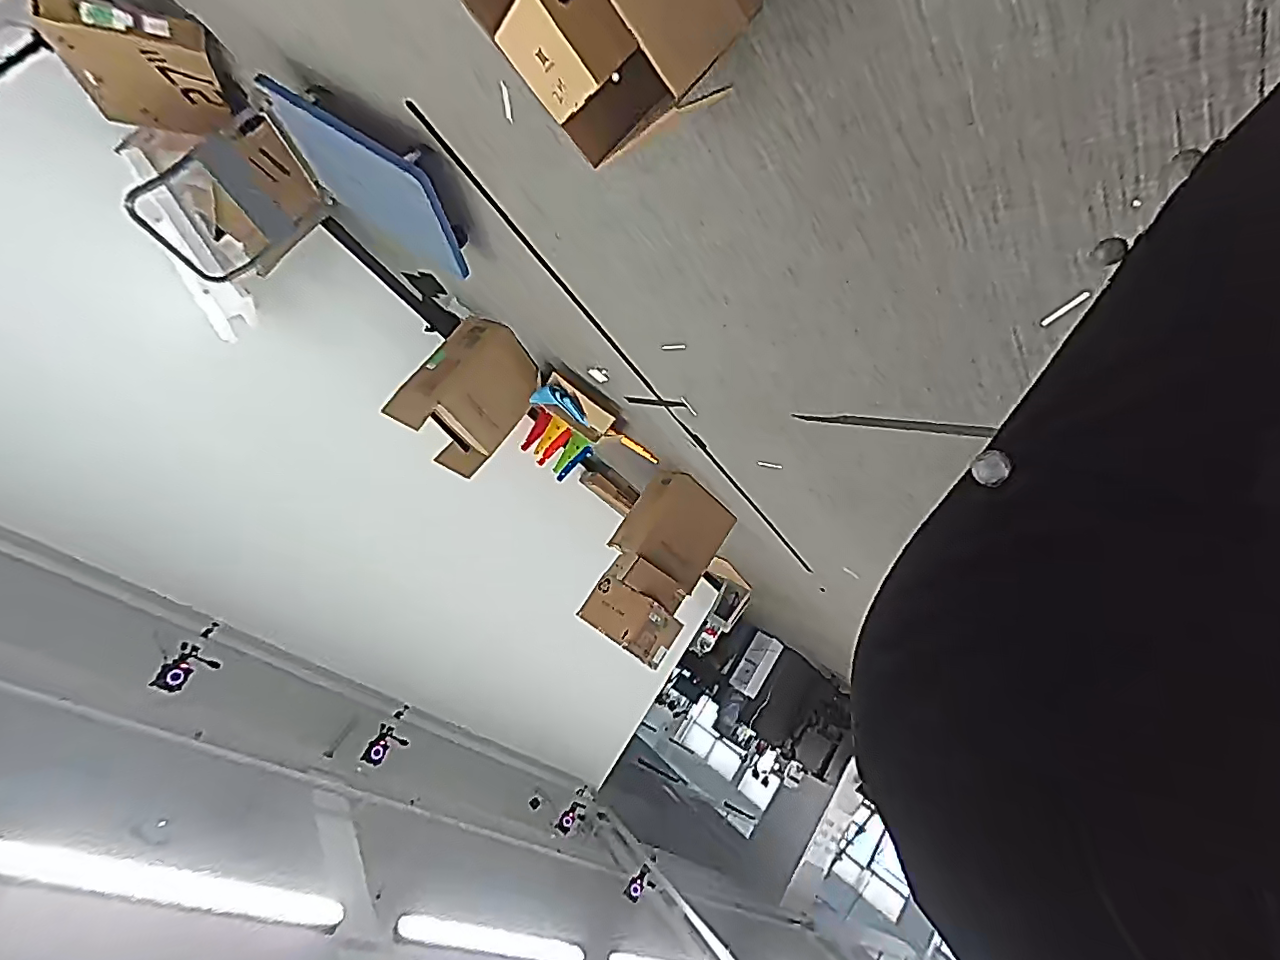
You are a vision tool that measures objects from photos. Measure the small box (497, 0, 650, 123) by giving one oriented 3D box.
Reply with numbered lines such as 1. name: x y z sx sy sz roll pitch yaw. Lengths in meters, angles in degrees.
1. small box: -0.119 -0.806 0.976 0.179 0.176 0.168 44 164 -30
